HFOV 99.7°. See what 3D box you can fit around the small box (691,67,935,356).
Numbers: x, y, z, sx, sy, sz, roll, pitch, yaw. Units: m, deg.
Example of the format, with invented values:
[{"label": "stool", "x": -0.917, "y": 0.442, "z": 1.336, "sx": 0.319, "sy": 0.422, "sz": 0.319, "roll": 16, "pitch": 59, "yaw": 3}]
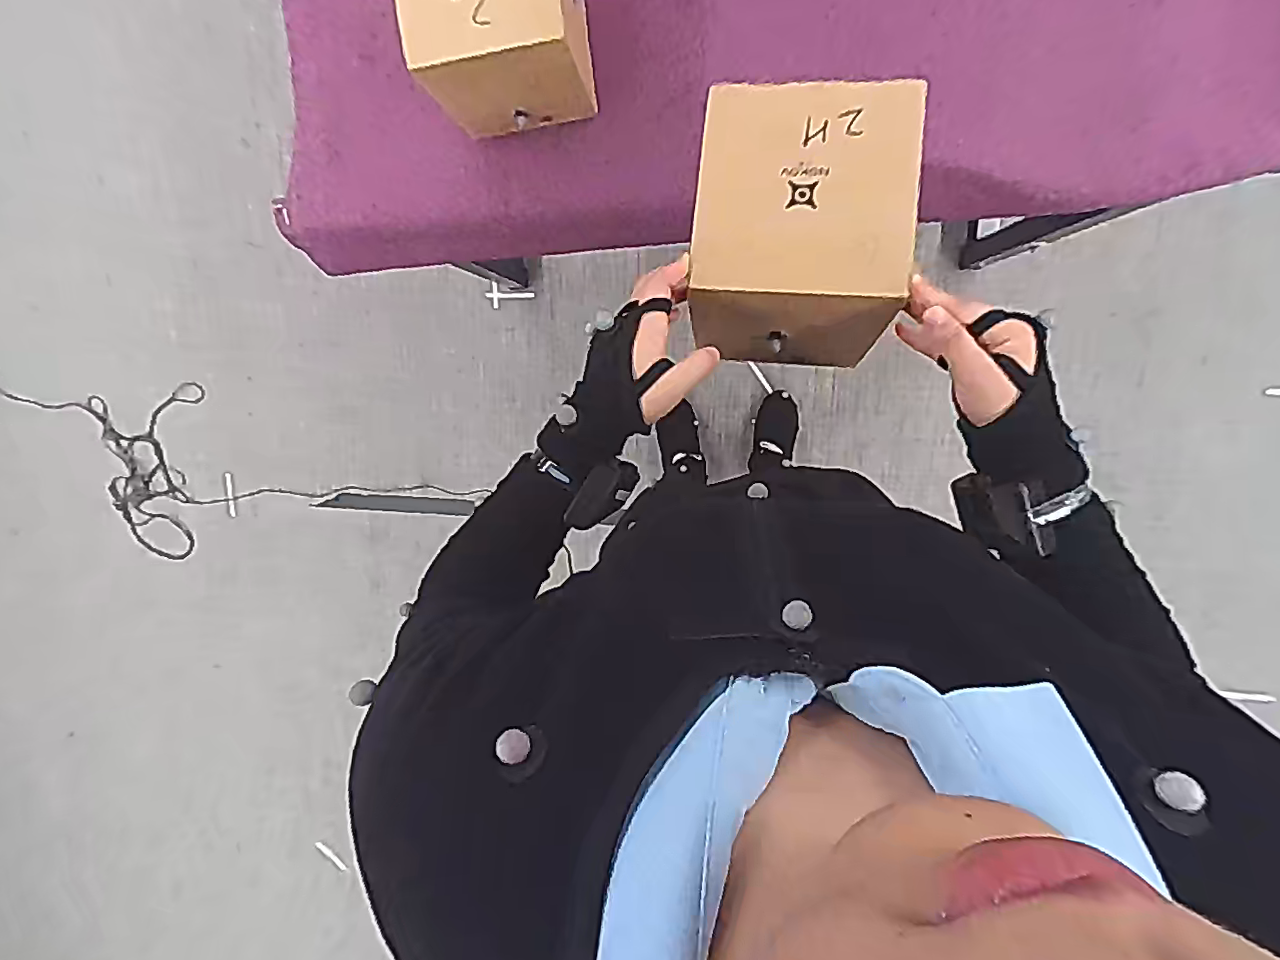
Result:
[{"label": "small box", "x": 0.140, "y": -0.221, "z": 0.486, "sx": 0.168, "sy": 0.176, "sz": 0.179, "roll": 6, "pitch": 85, "yaw": 8}]
